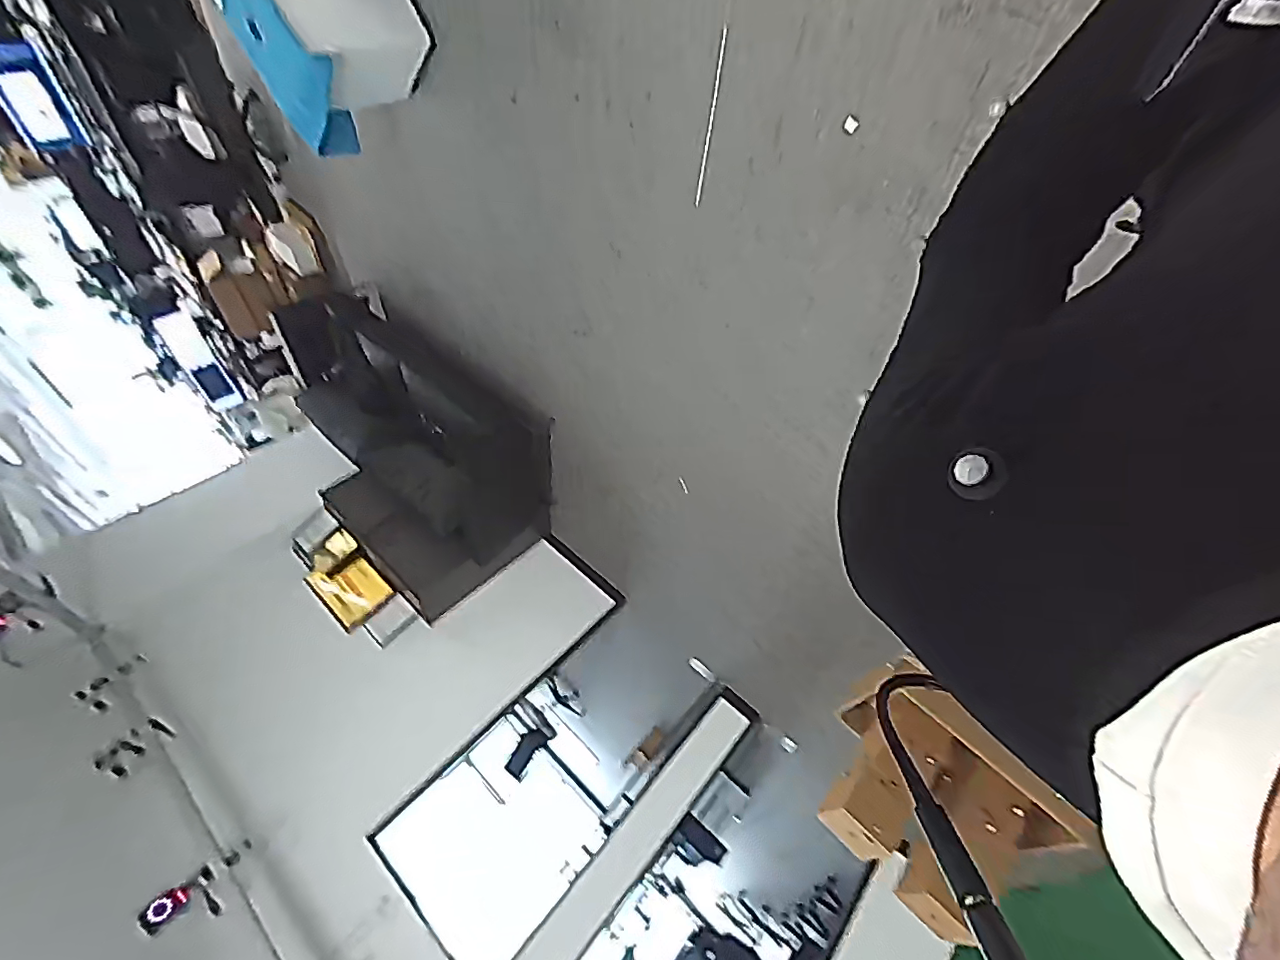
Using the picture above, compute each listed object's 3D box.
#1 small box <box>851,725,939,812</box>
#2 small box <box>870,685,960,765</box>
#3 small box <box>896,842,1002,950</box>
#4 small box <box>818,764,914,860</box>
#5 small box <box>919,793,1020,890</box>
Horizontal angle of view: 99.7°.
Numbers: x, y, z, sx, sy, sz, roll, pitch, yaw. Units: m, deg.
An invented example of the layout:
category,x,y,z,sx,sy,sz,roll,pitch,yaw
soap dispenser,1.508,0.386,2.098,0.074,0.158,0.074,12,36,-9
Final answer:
category,x,y,z,sx,sy,sz,roll,pitch,yaw
small box,0.777,0.882,1.650,0.168,0.176,0.179,41,146,18
small box,0.887,0.798,1.739,0.168,0.176,0.179,41,145,18
small box,0.854,1.139,1.493,0.168,0.176,0.179,39,145,18
small box,0.659,0.963,1.570,0.168,0.176,0.179,40,145,18
small box,0.964,1.056,1.580,0.168,0.176,0.179,39,145,19
